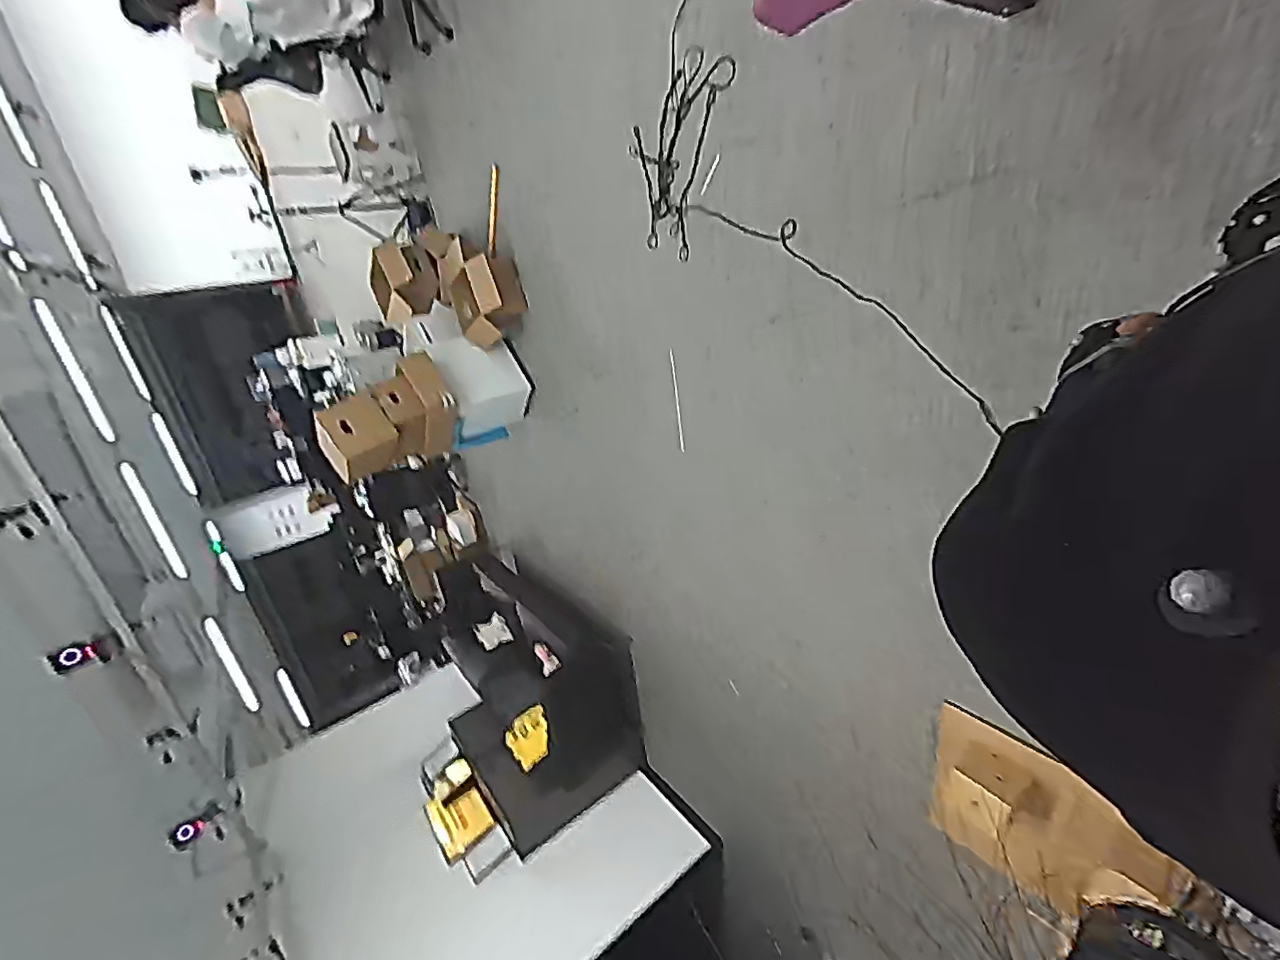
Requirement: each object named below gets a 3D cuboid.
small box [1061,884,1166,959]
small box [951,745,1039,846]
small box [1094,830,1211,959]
[{"bbox_3d":[1.353,1.314,1.536,0.179,0.176,0.168,28,132,46],"label":"small box"},{"bbox_3d":[1.110,0.976,1.688,0.168,0.176,0.179,27,131,48],"label":"small box"},{"bbox_3d":[1.335,1.068,1.407,0.168,0.176,0.179,28,131,47],"label":"small box"}]
